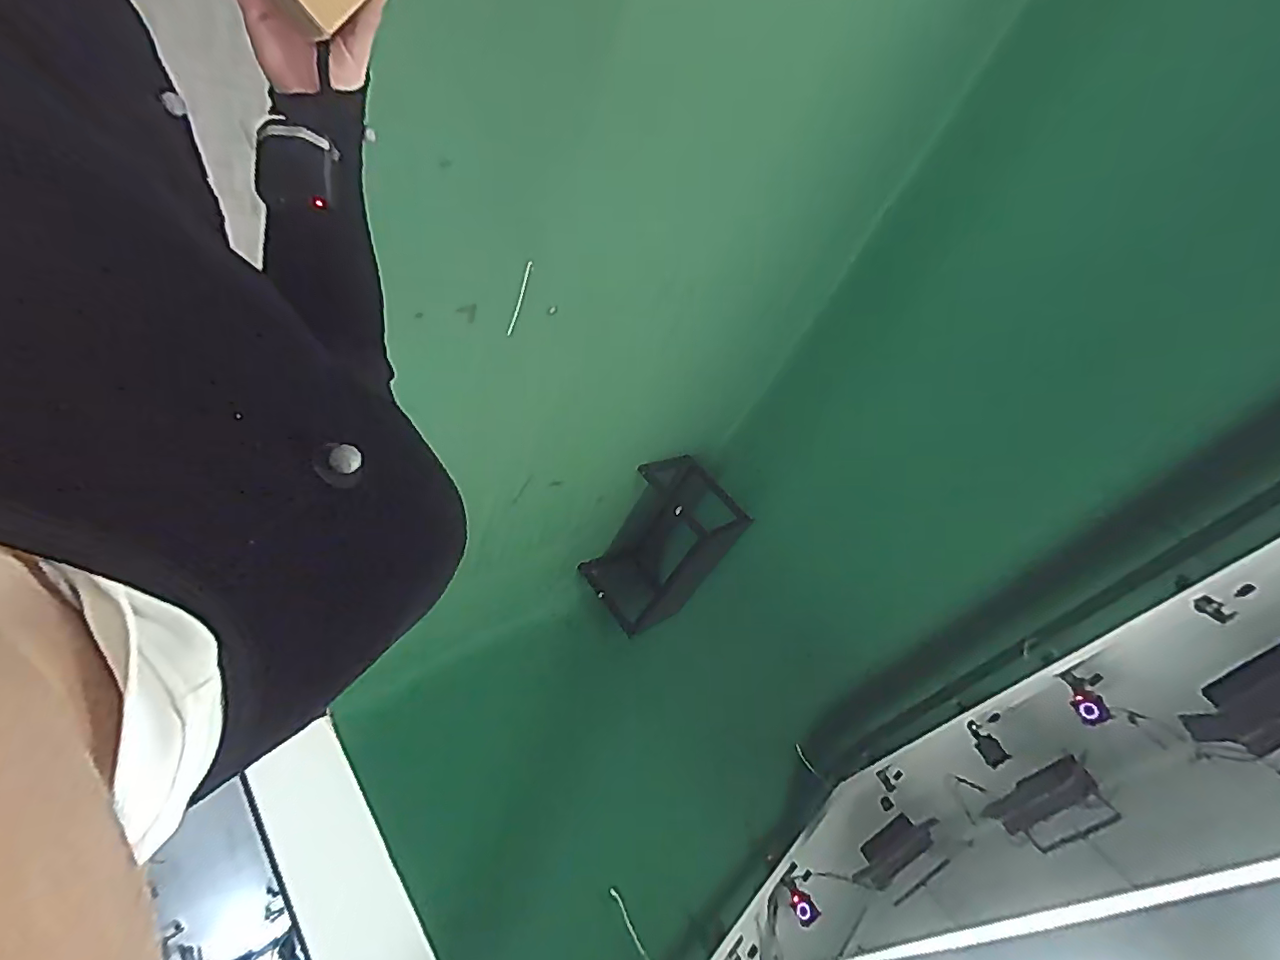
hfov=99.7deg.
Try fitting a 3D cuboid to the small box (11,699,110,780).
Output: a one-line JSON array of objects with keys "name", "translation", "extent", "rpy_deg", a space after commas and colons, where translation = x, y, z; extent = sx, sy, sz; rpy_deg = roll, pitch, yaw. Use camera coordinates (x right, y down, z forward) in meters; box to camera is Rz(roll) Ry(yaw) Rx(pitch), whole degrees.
[{"name": "small box", "translation": [-1.636, 0.760, 1.533], "extent": [0.168, 0.176, 0.179], "rpy_deg": [-16, 145, -46]}]

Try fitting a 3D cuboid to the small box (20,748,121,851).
[{"name": "small box", "translation": [-1.535, 0.867, 1.466], "extent": [0.168, 0.176, 0.179], "rpy_deg": [-16, 144, -45]}]
